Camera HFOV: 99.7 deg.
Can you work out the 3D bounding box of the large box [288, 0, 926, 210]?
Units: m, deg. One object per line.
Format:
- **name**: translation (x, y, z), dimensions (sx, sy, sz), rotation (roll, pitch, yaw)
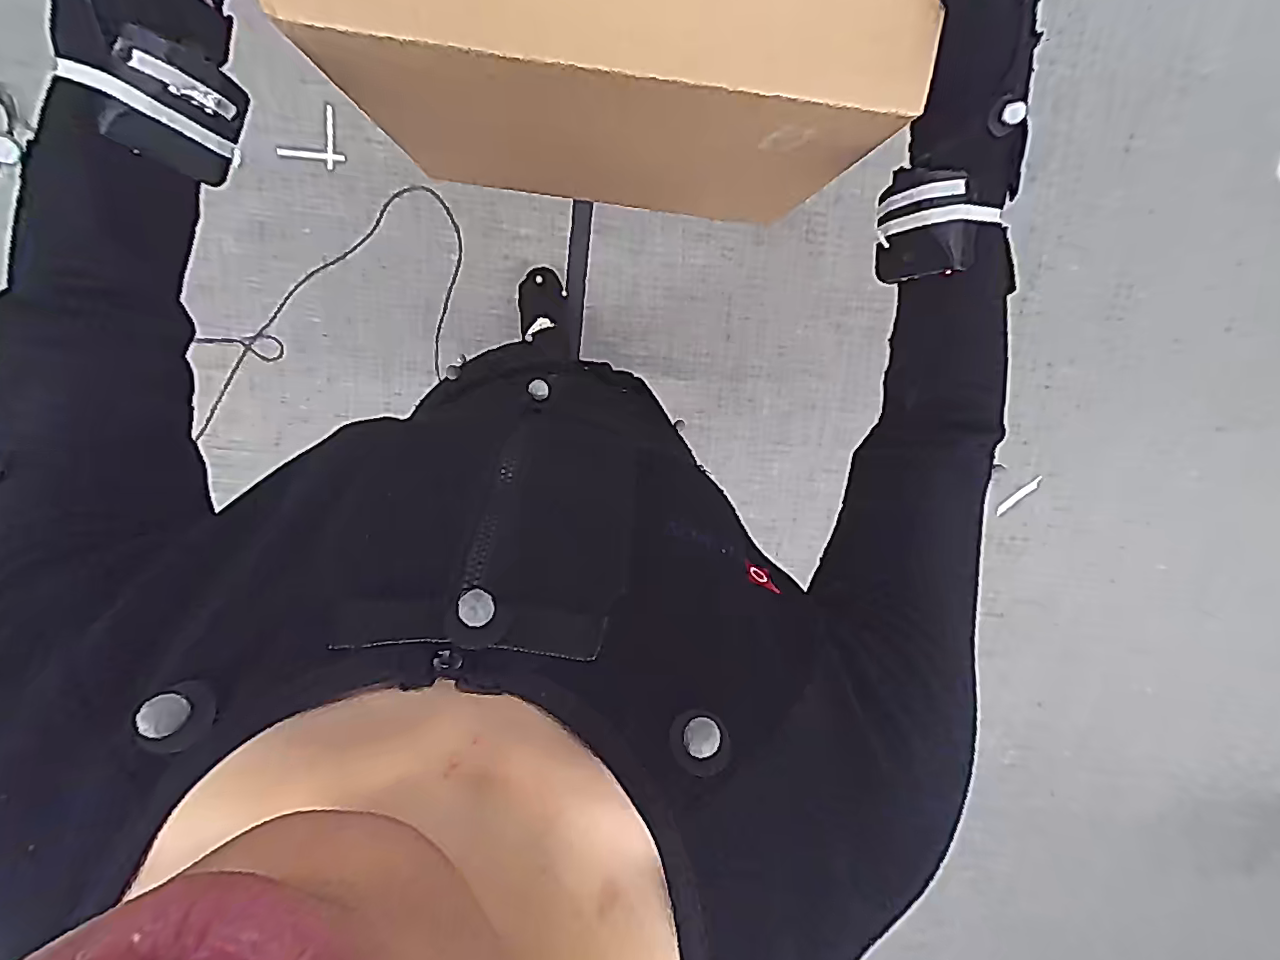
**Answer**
- **large box**: translation (-0.016, -0.448, 0.453), dimensions (0.408, 0.320, 0.320), rotation (5, 104, -6)
